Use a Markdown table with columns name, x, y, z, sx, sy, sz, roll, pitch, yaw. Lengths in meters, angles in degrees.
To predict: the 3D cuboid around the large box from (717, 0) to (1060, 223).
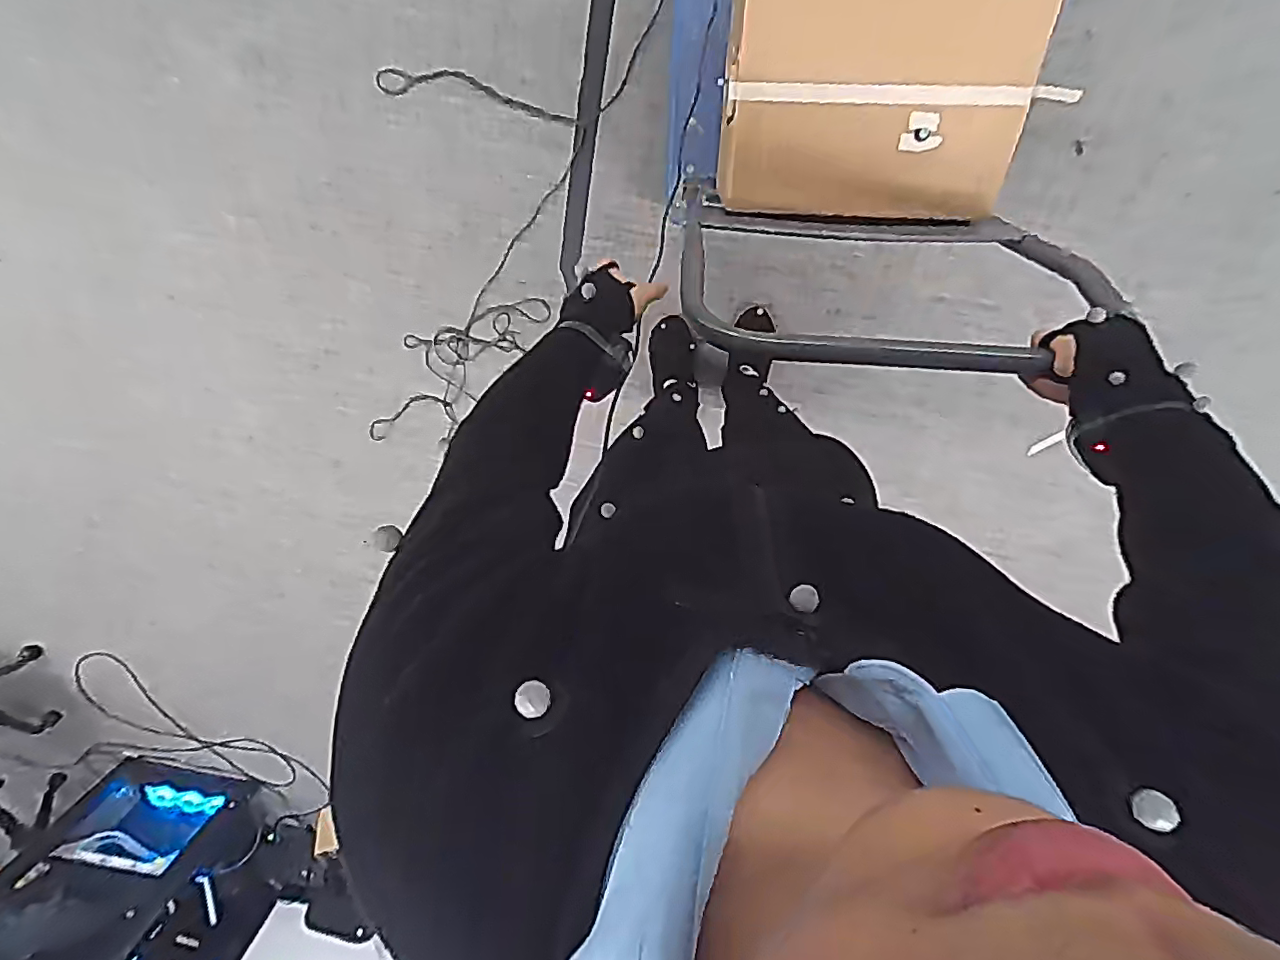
| name | x | y | z | sx | sy | sz | roll | pitch | yaw |
| --- | --- | --- | --- | --- | --- | --- | --- | --- | --- |
| large box | 0.343 | -0.609 | 0.878 | 0.408 | 0.320 | 0.320 | 3 | 124 | 2 |
